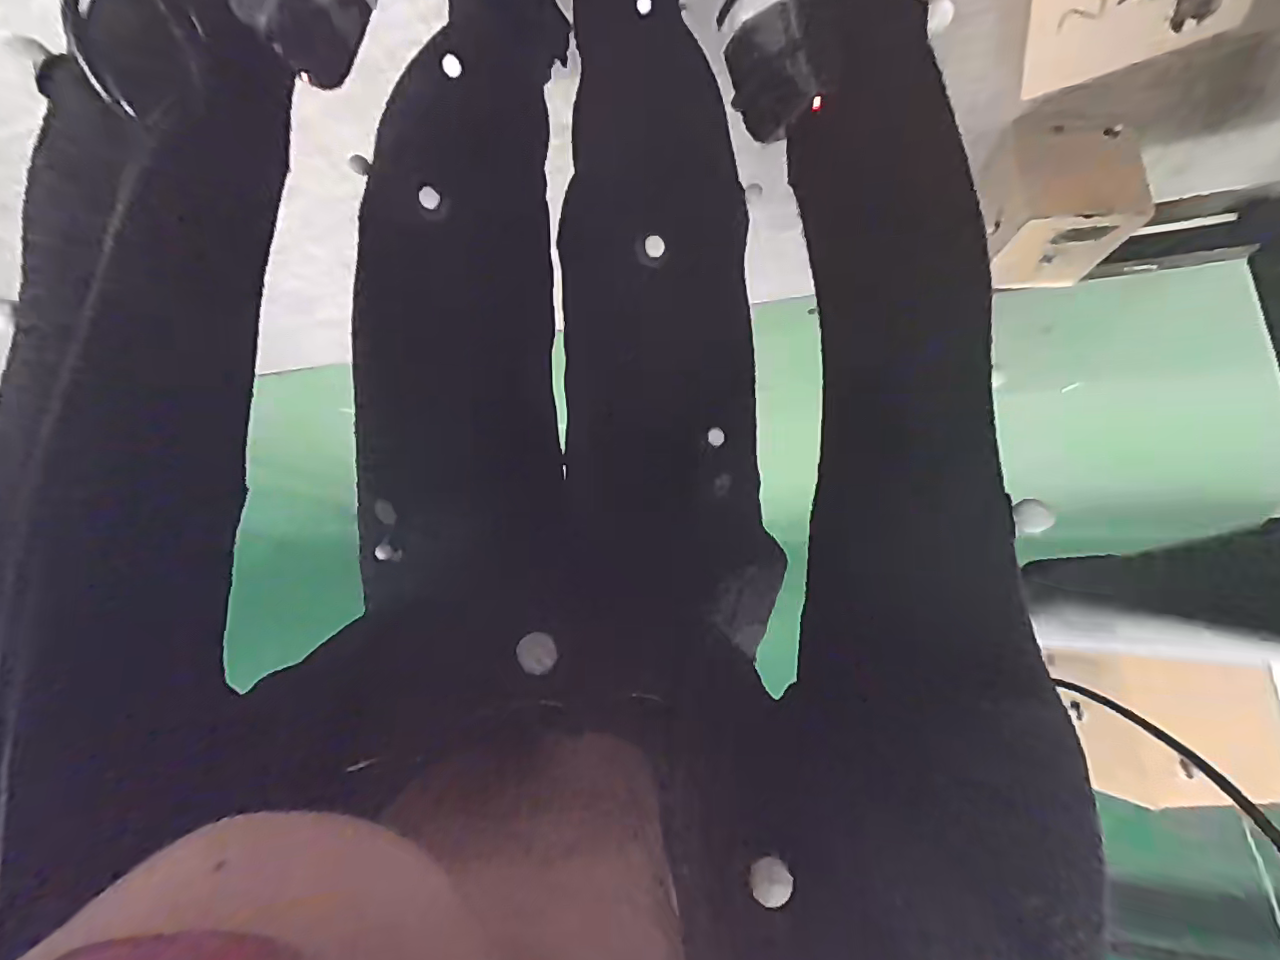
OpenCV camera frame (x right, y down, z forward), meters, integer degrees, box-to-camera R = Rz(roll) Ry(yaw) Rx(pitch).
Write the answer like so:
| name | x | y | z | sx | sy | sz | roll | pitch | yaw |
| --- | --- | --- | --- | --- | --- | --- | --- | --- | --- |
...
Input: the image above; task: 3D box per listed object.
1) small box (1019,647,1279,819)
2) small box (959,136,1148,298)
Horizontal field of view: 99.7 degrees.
| name | x | y | z | sx | sy | sz | roll | pitch | yaw |
| --- | --- | --- | --- | --- | --- | --- | --- | --- | --- |
| small box | 0.616 | 0.297 | 0.670 | 0.179 | 0.176 | 0.168 | 0 | 165 | -3 |
| small box | 0.628 | -0.411 | 0.851 | 0.168 | 0.176 | 0.179 | 1 | 166 | 5 |
